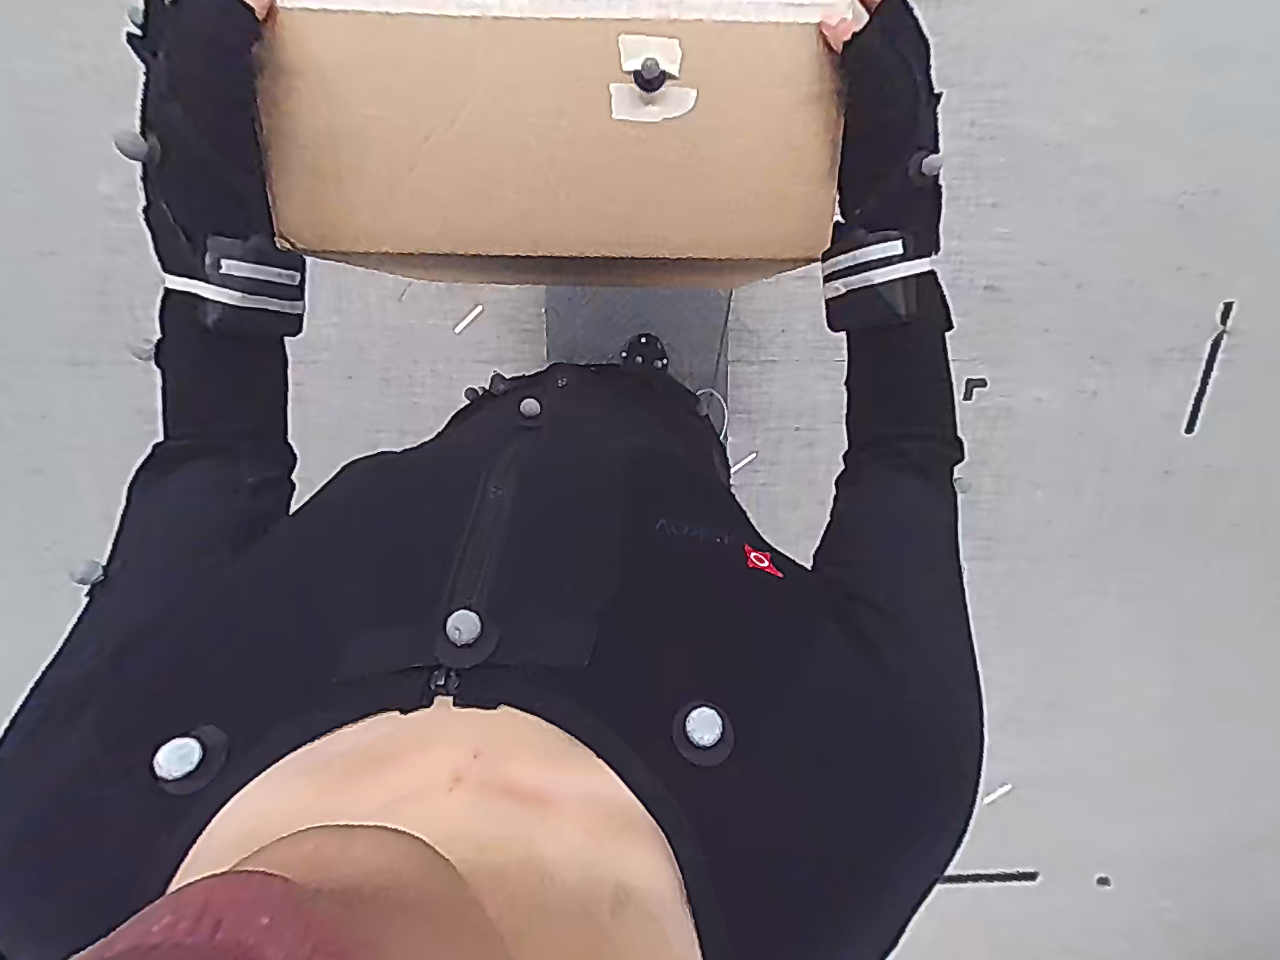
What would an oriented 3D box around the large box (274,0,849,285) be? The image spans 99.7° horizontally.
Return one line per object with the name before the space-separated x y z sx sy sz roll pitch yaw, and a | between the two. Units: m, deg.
large box | -0.059 -0.365 0.518 0.408 0.320 0.320 0 106 -3
